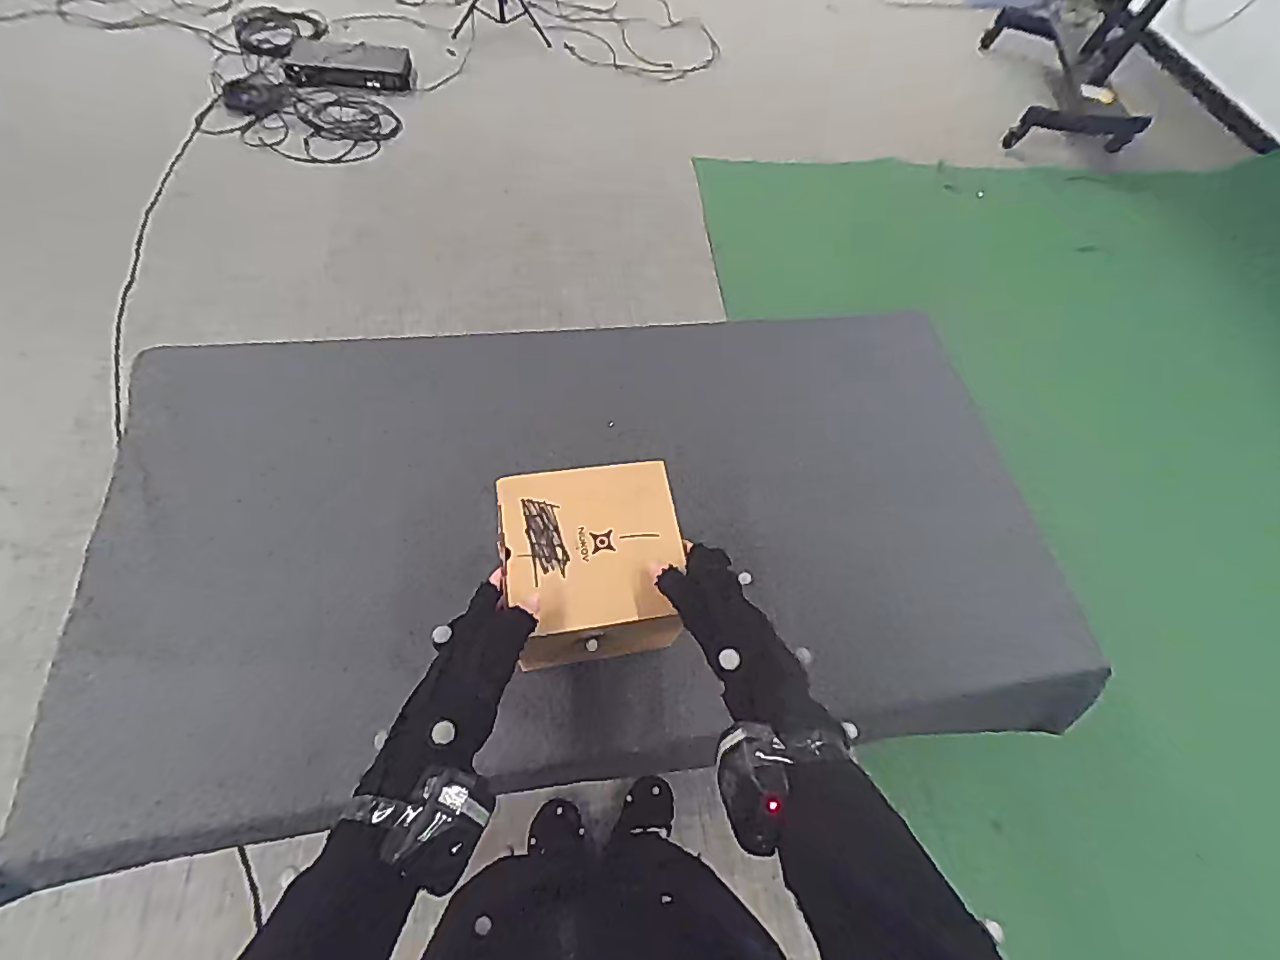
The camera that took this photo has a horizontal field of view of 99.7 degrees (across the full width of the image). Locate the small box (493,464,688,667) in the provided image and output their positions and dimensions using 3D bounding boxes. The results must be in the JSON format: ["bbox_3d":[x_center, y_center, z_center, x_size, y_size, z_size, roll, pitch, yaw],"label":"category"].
[{"bbox_3d":[-0.059,0.100,0.597,0.179,0.176,0.168,-6,63,-10],"label":"small box"}]
